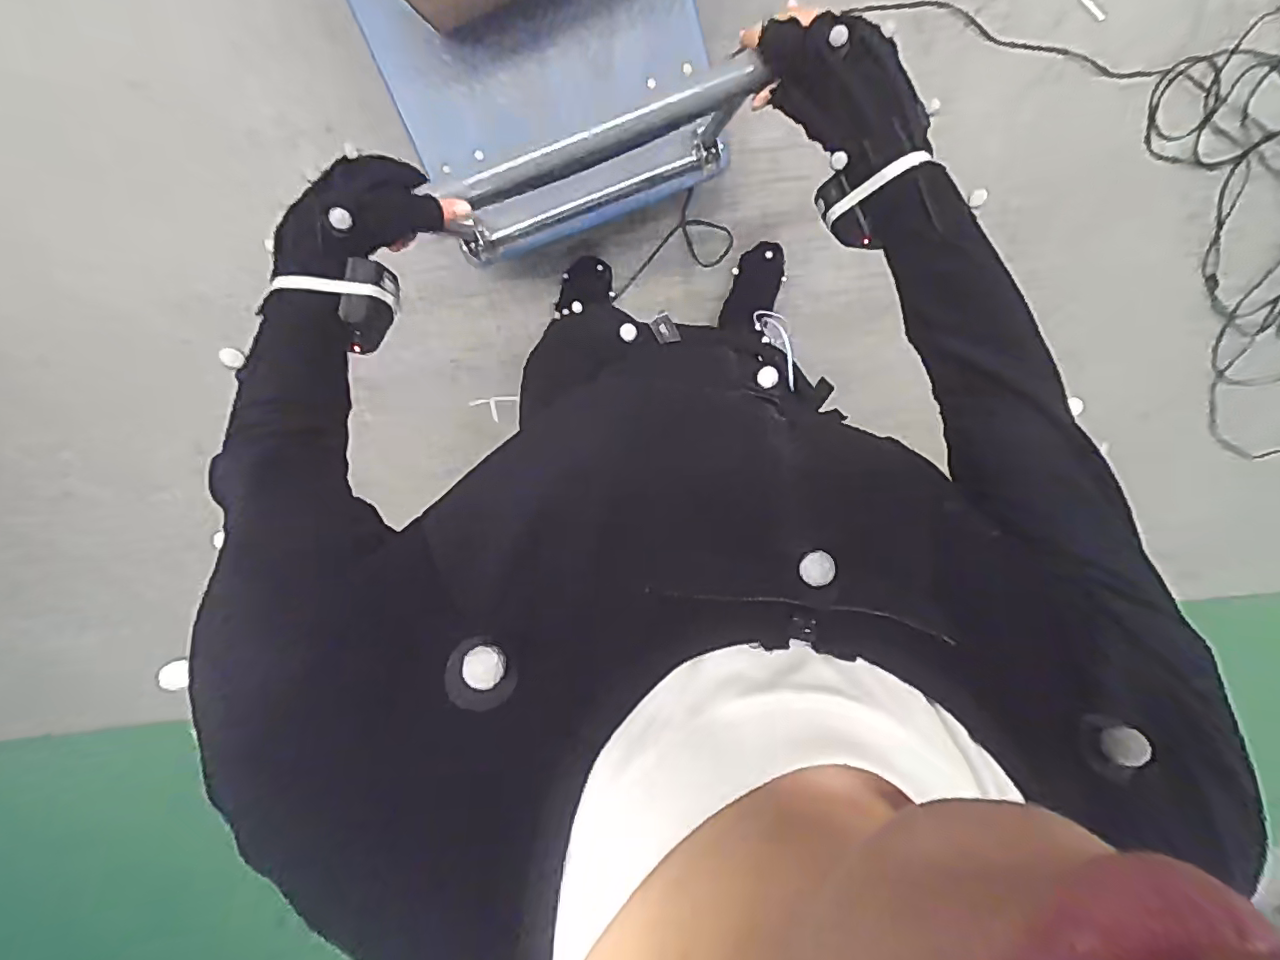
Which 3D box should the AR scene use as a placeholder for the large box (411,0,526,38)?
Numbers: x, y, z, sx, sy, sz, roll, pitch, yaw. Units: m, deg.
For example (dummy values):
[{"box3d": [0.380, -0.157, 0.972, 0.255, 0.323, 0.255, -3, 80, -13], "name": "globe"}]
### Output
[{"box3d": [-0.209, -0.918, 0.748, 0.408, 0.320, 0.320, -21, 114, 9], "name": "large box"}]
